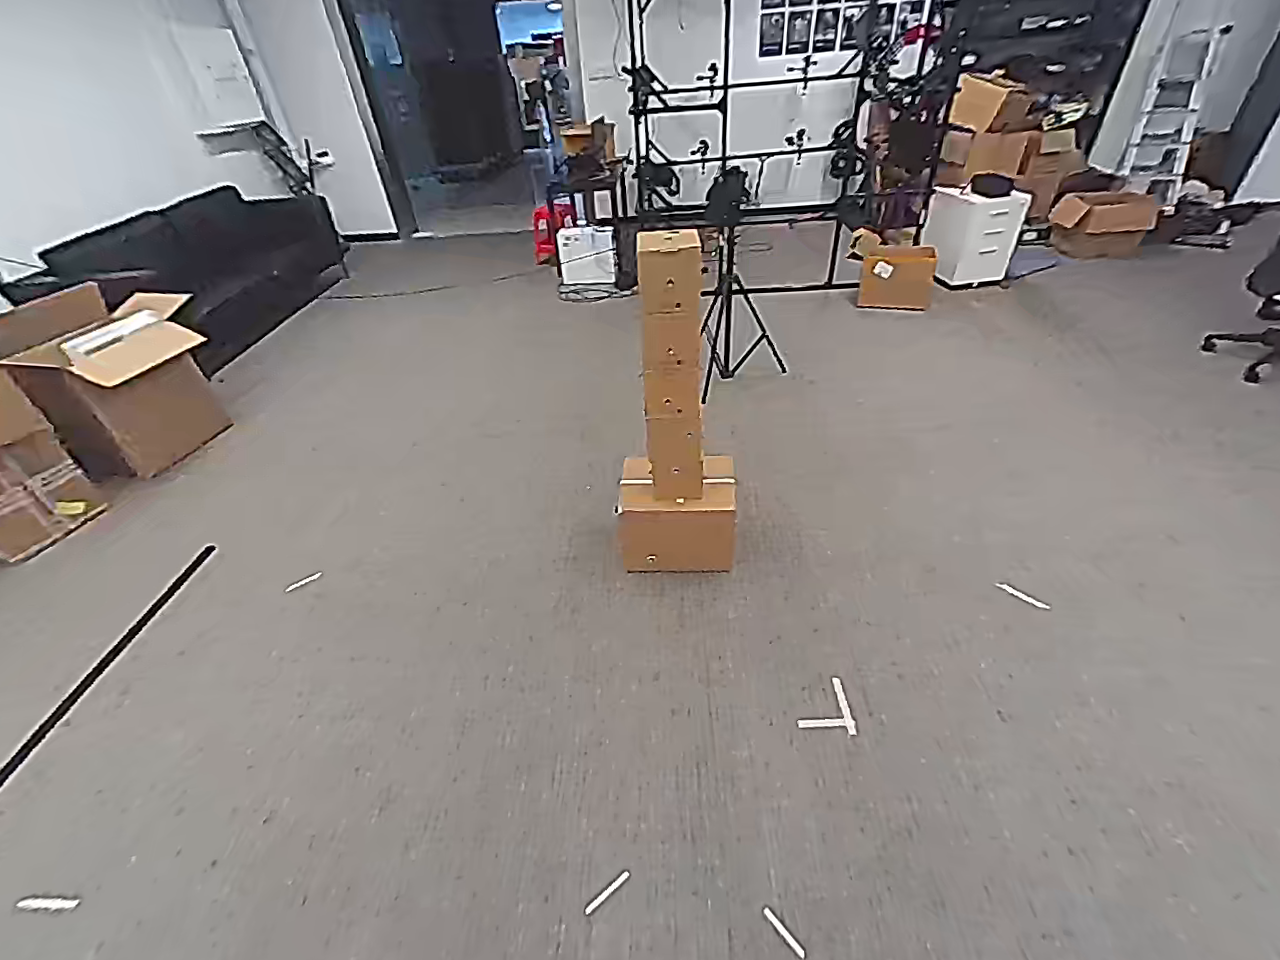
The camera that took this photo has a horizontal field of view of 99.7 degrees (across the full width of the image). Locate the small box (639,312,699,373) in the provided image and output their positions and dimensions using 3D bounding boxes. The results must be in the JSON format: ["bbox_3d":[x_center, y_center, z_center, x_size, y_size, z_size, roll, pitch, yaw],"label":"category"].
[{"bbox_3d":[0.083,-0.429,1.583,0.168,0.176,0.179,-3,39,3],"label":"small box"}]

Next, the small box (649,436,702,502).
[{"bbox_3d":[0.124,-0.037,1.876,0.179,0.176,0.168,-2,39,3],"label":"small box"}]

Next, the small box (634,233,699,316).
[{"bbox_3d":[0.073,-0.560,1.485,0.168,0.176,0.179,-3,40,2],"label":"small box"}]

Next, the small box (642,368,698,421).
[{"bbox_3d":[0.095,-0.299,1.683,0.168,0.176,0.179,-2,39,4],"label":"small box"}]
